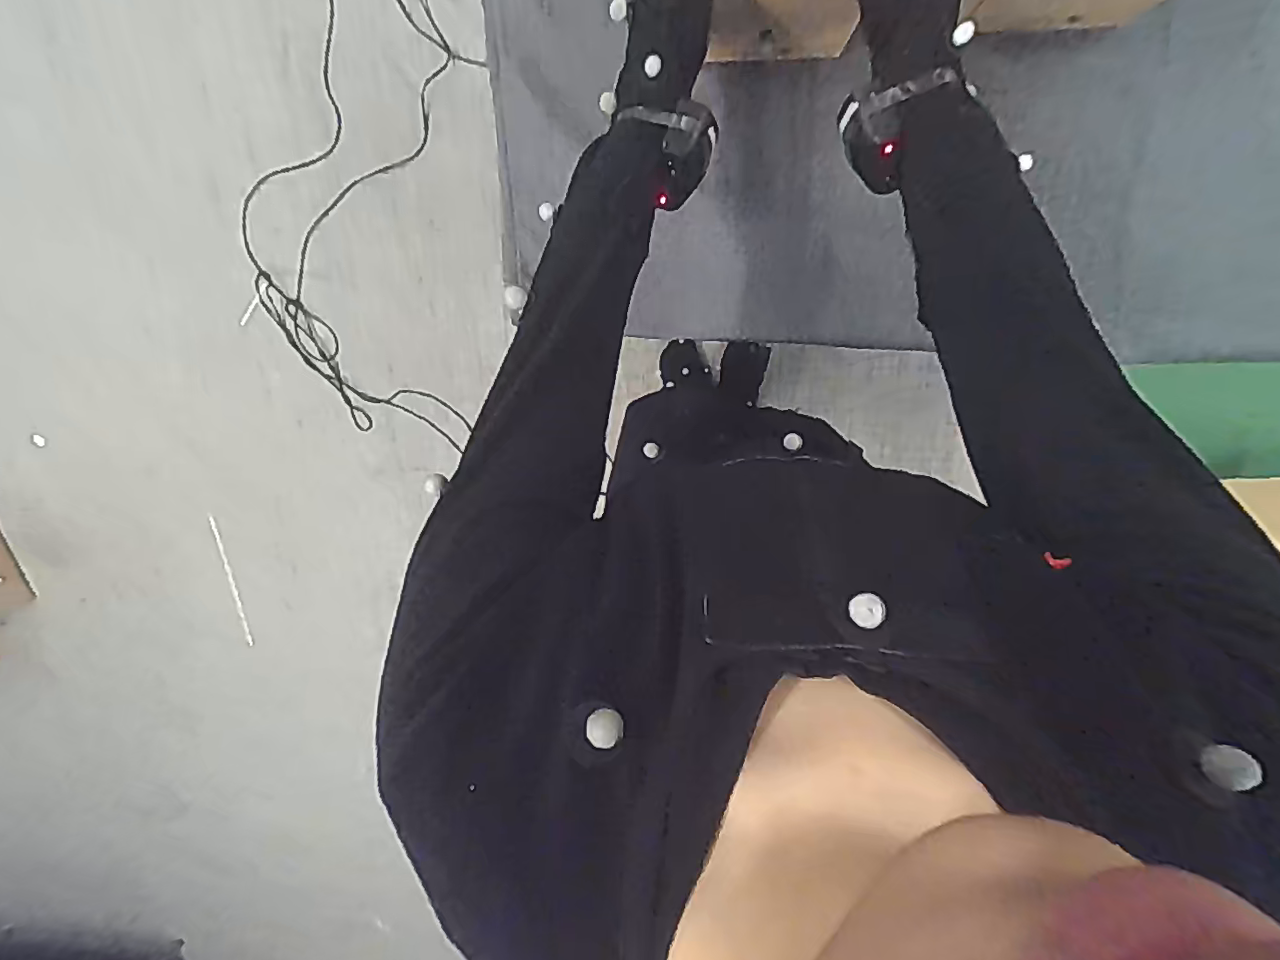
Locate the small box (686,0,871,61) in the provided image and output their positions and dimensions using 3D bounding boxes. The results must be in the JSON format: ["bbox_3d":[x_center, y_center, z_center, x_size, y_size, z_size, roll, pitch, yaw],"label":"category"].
[{"bbox_3d":[0.127,-0.515,0.484,0.168,0.176,0.179,2,108,5],"label":"small box"}]
